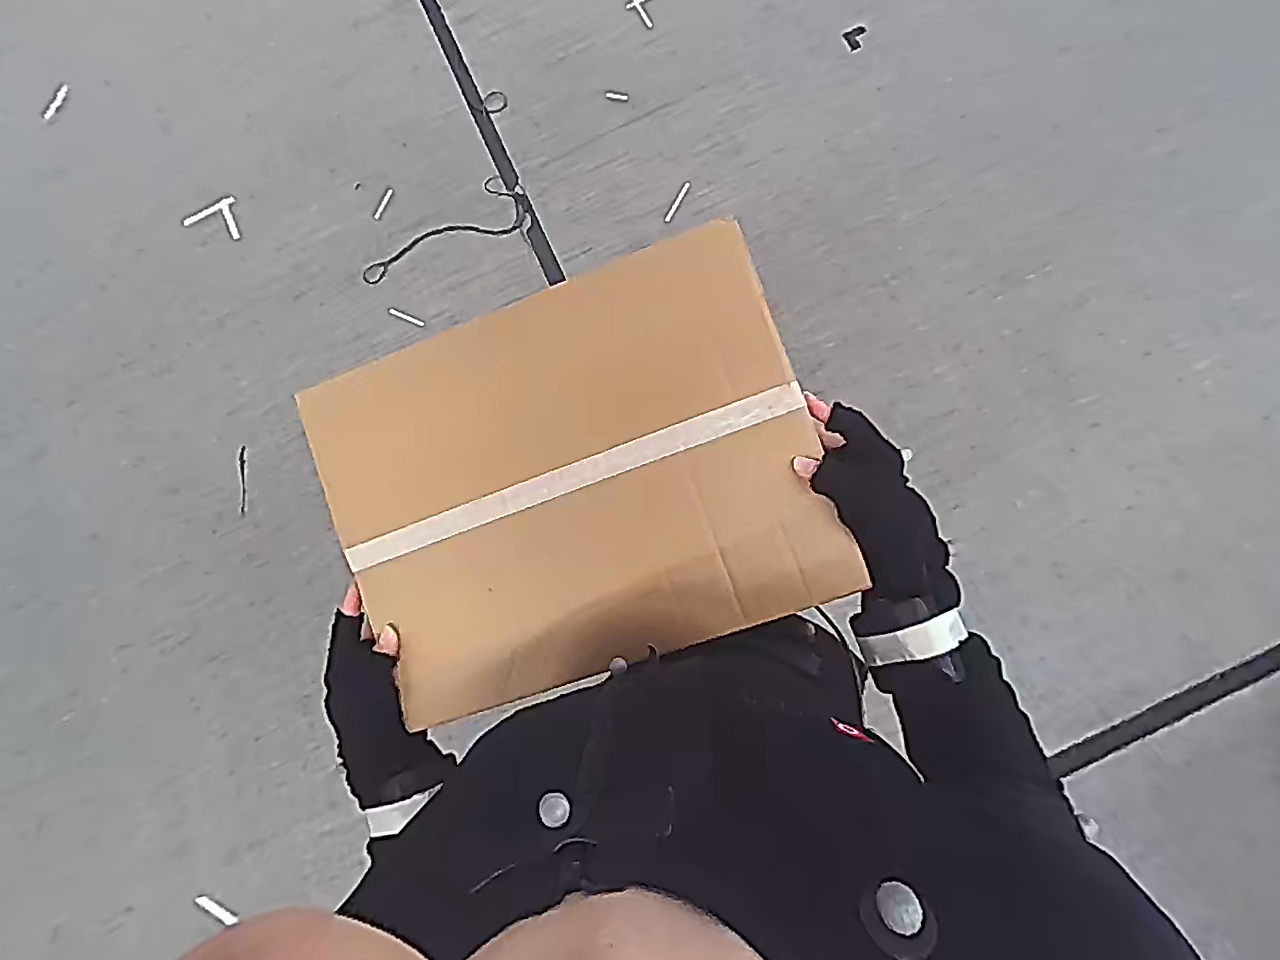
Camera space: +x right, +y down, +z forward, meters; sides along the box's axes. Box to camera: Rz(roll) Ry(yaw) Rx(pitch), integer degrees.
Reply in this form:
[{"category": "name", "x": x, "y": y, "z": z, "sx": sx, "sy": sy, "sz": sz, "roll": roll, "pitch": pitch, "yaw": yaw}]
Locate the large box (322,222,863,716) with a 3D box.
[{"category": "large box", "x": -0.037, "y": 0.001, "z": 0.603, "sx": 0.408, "sy": 0.320, "sz": 0.320, "roll": -19, "pitch": 88, "yaw": 7}]
